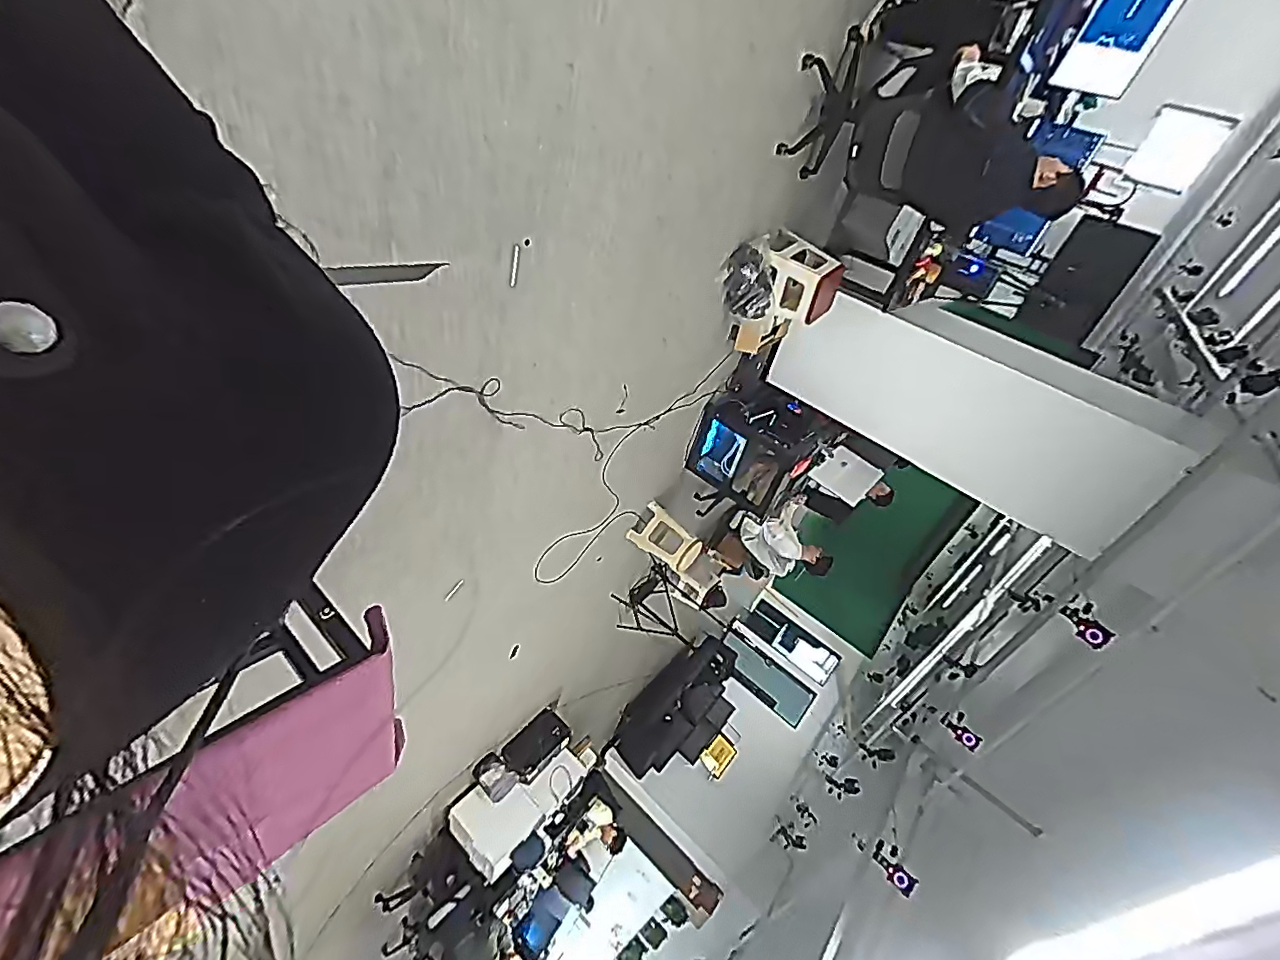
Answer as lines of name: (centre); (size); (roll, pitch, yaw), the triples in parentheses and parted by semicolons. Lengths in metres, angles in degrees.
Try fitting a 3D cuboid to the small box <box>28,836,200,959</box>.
small box: (-0.940, 0.794, 0.975); (0.168, 0.176, 0.179); (-29, 146, -48)
